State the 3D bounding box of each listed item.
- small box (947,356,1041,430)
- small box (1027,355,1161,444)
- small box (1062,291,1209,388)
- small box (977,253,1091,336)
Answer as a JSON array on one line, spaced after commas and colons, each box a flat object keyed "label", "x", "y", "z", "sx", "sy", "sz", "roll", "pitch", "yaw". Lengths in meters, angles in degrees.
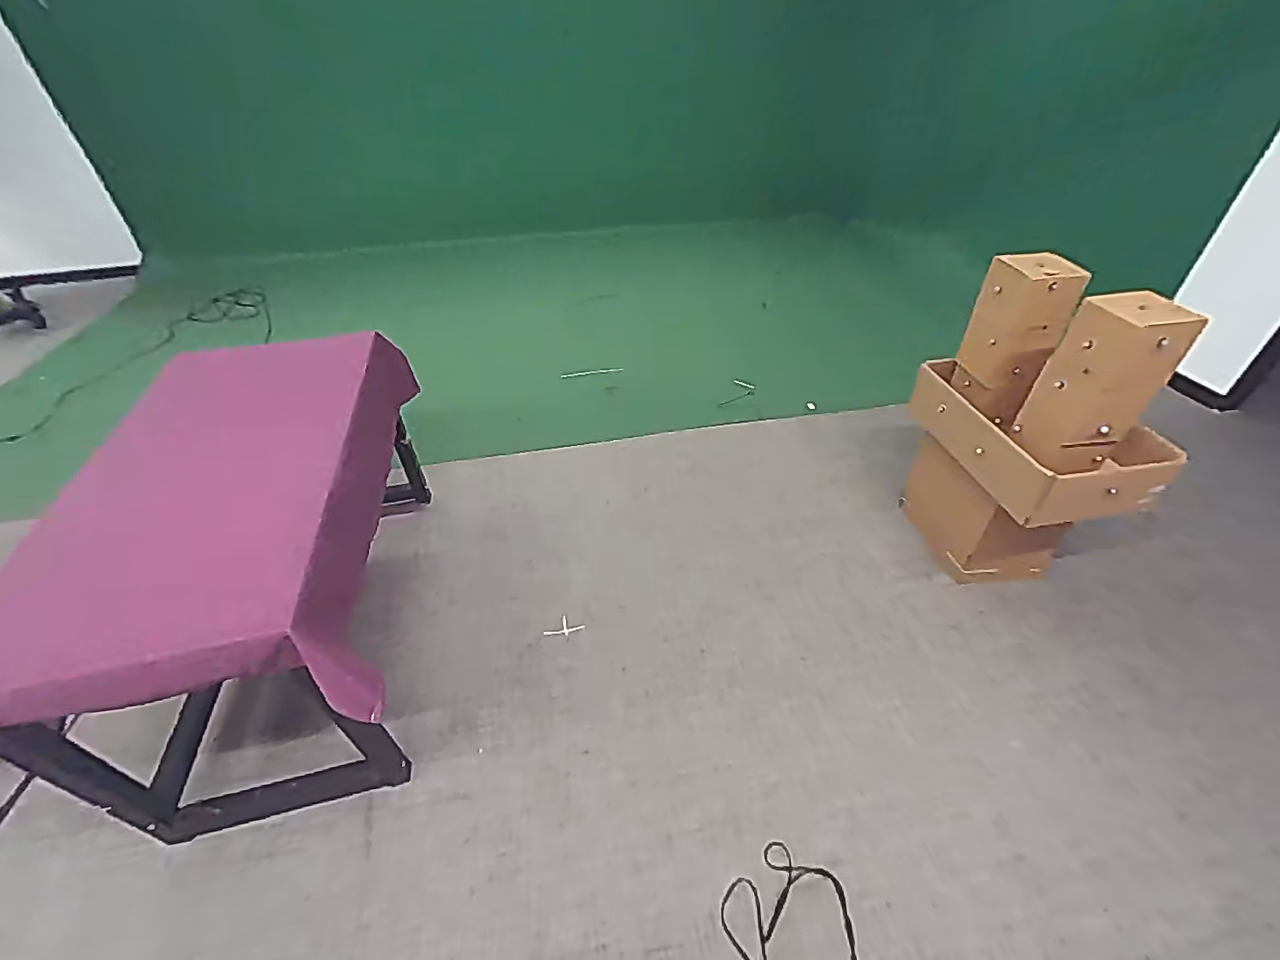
[{"label": "small box", "x": 1.131, "y": -0.281, "z": 1.745, "sx": 0.168, "sy": 0.176, "sz": 0.179, "roll": -7, "pitch": 42, "yaw": -4}, {"label": "small box", "x": 1.167, "y": -0.214, "z": 1.410, "sx": 0.168, "sy": 0.176, "sz": 0.179, "roll": -5, "pitch": 42, "yaw": -3}, {"label": "small box", "x": 1.167, "y": -0.335, "z": 1.297, "sx": 0.179, "sy": 0.176, "sz": 0.168, "roll": -6, "pitch": 42, "yaw": -5}, {"label": "small box", "x": 1.099, "y": -0.524, "z": 1.528, "sx": 0.168, "sy": 0.176, "sz": 0.179, "roll": -6, "pitch": 41, "yaw": -3}]
